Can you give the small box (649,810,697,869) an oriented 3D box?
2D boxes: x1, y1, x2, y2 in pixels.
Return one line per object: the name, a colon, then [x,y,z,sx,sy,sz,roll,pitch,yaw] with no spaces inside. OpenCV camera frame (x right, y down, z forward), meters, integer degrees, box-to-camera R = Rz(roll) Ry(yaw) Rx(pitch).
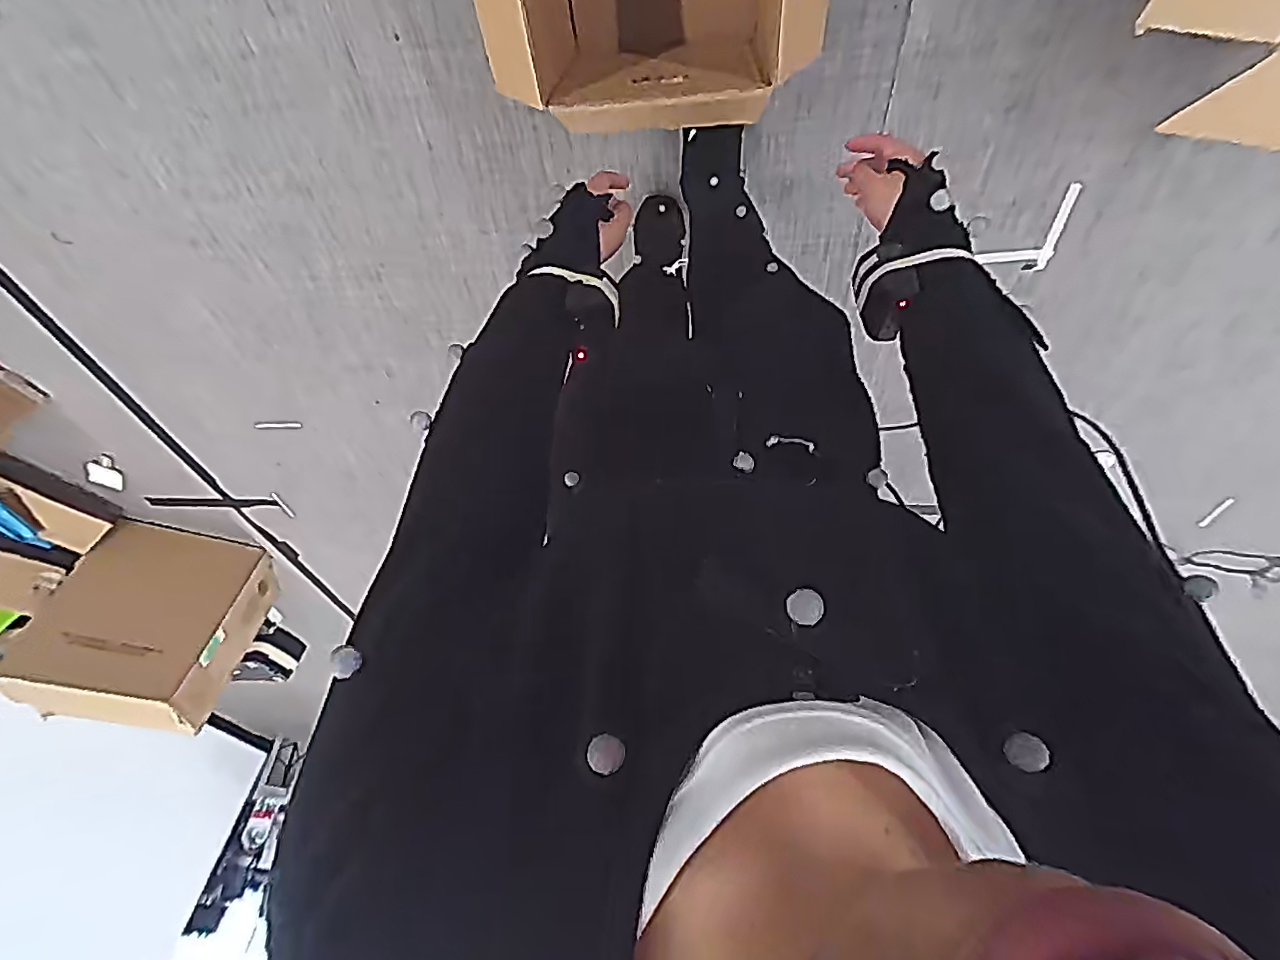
small box: [0.129,1.414,2.127,0.179,0.176,0.168,5,137,2]
